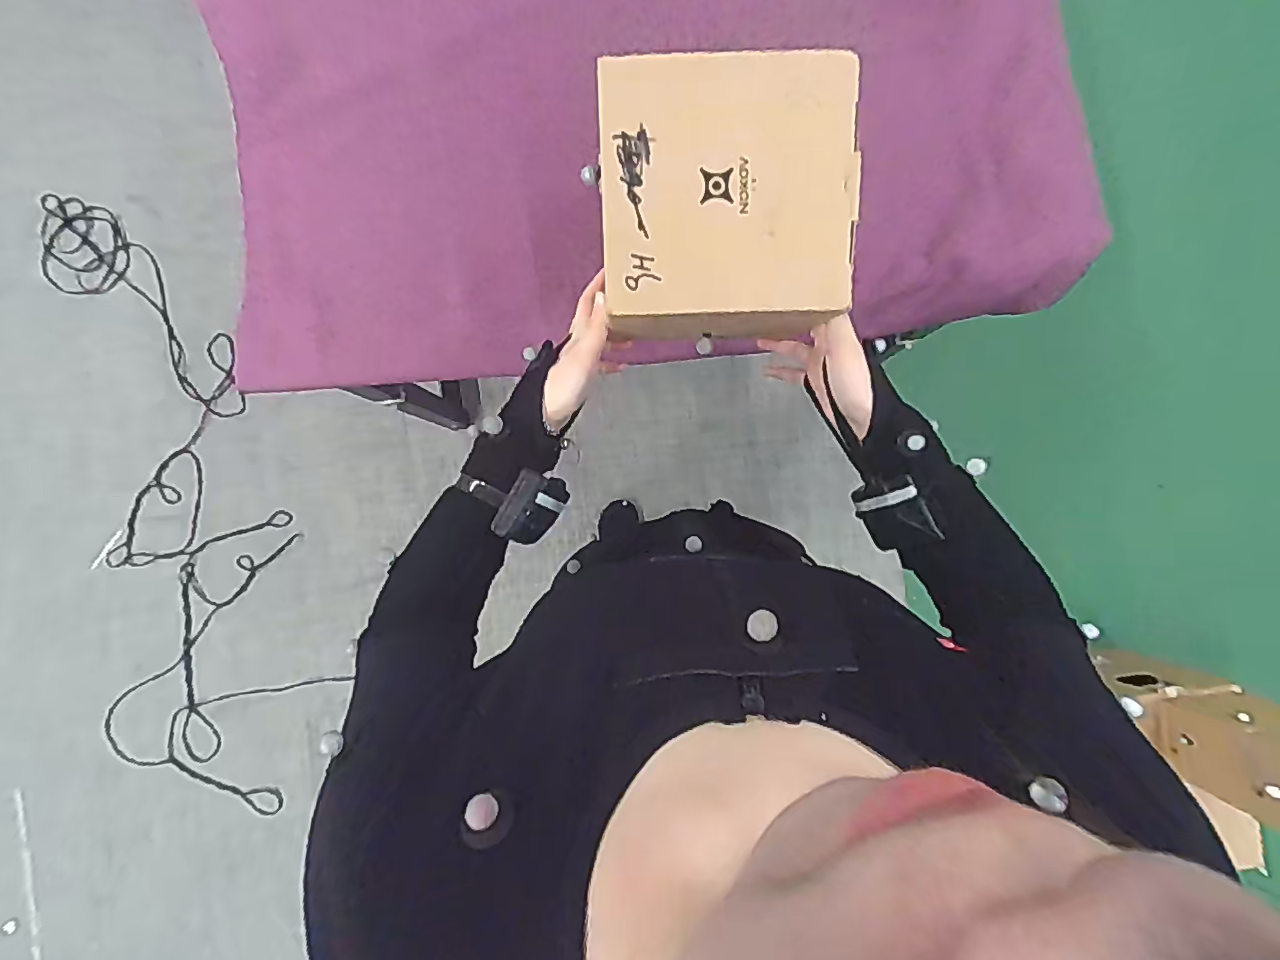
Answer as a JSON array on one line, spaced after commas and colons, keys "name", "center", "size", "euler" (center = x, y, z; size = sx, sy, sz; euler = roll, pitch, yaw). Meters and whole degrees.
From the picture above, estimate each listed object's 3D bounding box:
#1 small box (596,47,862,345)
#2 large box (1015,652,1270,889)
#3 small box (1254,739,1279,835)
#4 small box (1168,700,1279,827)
[{"name": "small box", "center": [0.055, -0.204, 0.436], "size": [0.179, 0.176, 0.168], "euler": [-1, 97, -2]}, {"name": "large box", "center": [1.196, 0.678, 1.326], "size": [0.320, 0.320, 0.408], "euler": [-6, 89, 1]}, {"name": "small box", "center": [1.233, 0.555, 0.923], "size": [0.179, 0.176, 0.168], "euler": [-7, 88, 0]}, {"name": "small box", "center": [1.235, 0.558, 1.088], "size": [0.179, 0.176, 0.168], "euler": [-6, 88, 0]}]
